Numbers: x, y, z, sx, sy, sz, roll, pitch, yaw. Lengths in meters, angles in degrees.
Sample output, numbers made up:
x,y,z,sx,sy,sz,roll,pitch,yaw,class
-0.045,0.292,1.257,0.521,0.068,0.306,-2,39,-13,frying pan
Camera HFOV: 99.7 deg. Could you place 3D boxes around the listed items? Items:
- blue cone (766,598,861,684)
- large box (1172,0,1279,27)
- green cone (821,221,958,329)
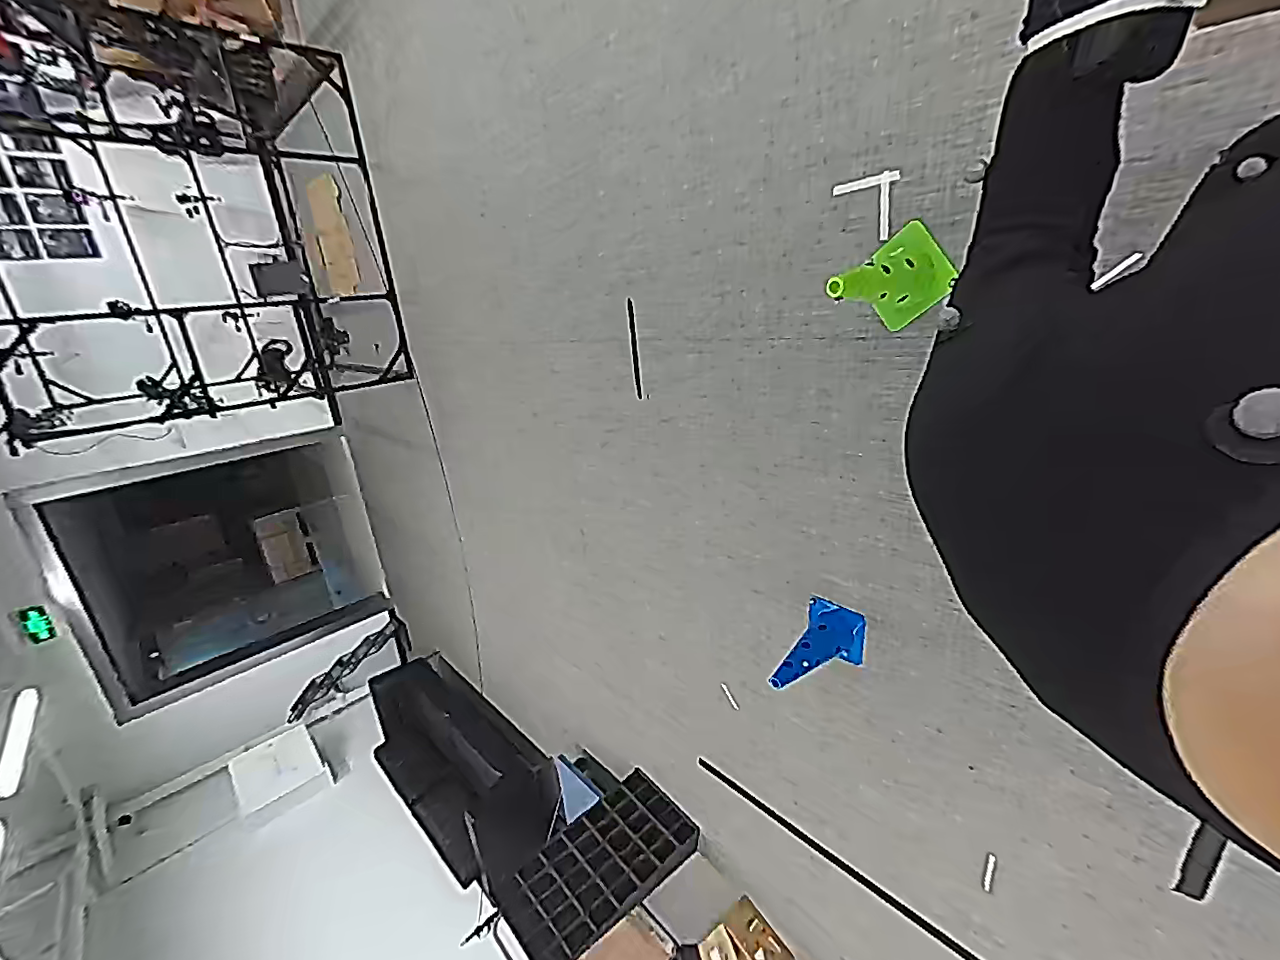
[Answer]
x,y,z,sx,sy,sz,roll,pitch,yaw,class
0.542,0.556,1.752,0.192,0.380,0.193,20,121,45,blue cone
0.539,-0.471,0.234,0.408,0.320,0.320,17,127,44,large box
0.540,-0.464,1.262,0.200,0.368,0.202,61,143,10,green cone
